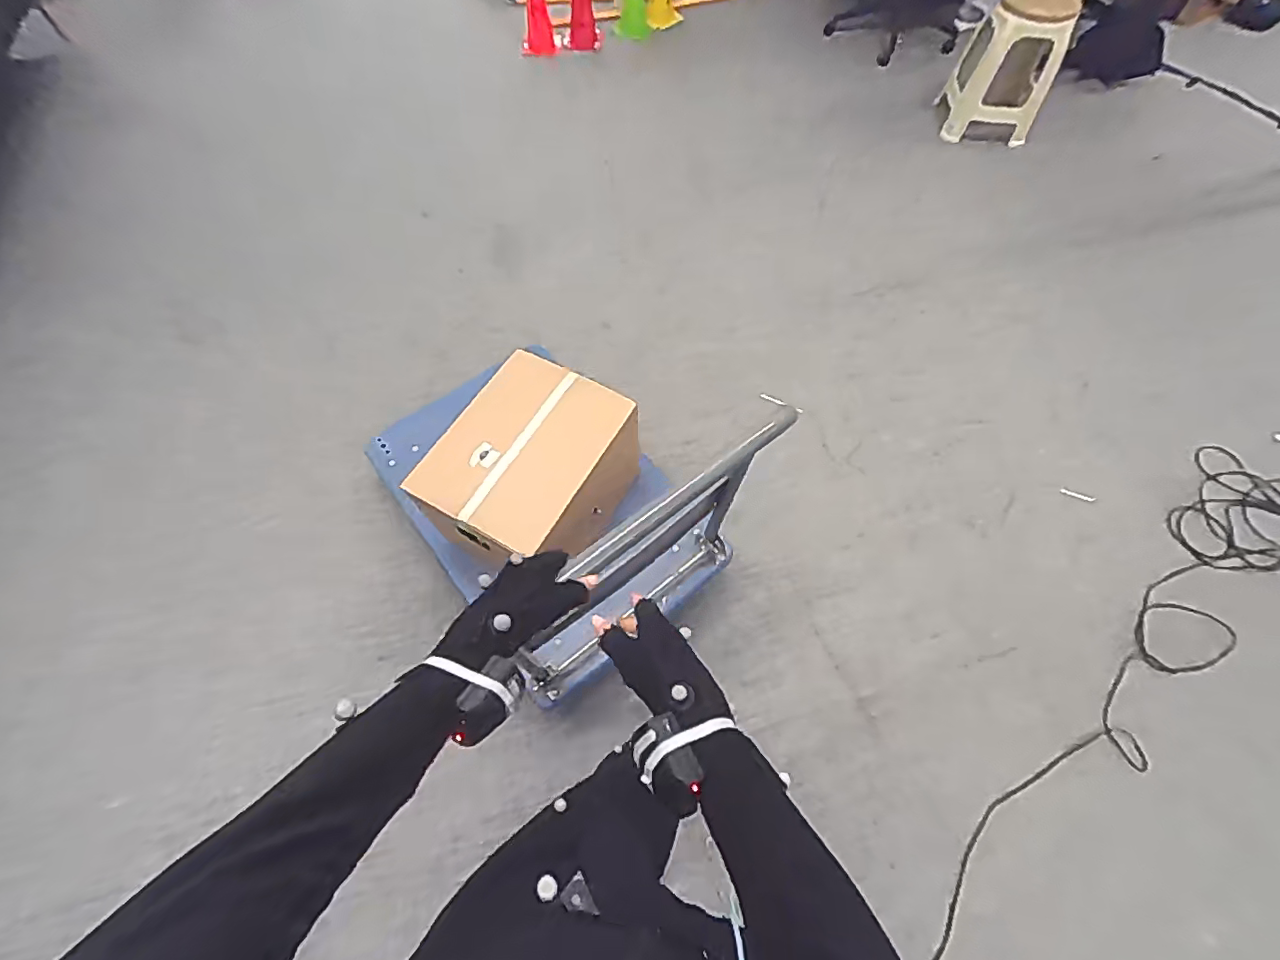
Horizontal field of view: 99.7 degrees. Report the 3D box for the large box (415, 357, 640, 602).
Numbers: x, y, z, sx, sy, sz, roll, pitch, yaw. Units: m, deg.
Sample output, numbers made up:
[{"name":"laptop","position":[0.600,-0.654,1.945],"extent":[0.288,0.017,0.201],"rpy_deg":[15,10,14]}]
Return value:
[{"name":"large box","position":[-0.221,0.006,1.242],"extent":[0.320,0.320,0.408],"rpy_deg":[25,66,14]}]
